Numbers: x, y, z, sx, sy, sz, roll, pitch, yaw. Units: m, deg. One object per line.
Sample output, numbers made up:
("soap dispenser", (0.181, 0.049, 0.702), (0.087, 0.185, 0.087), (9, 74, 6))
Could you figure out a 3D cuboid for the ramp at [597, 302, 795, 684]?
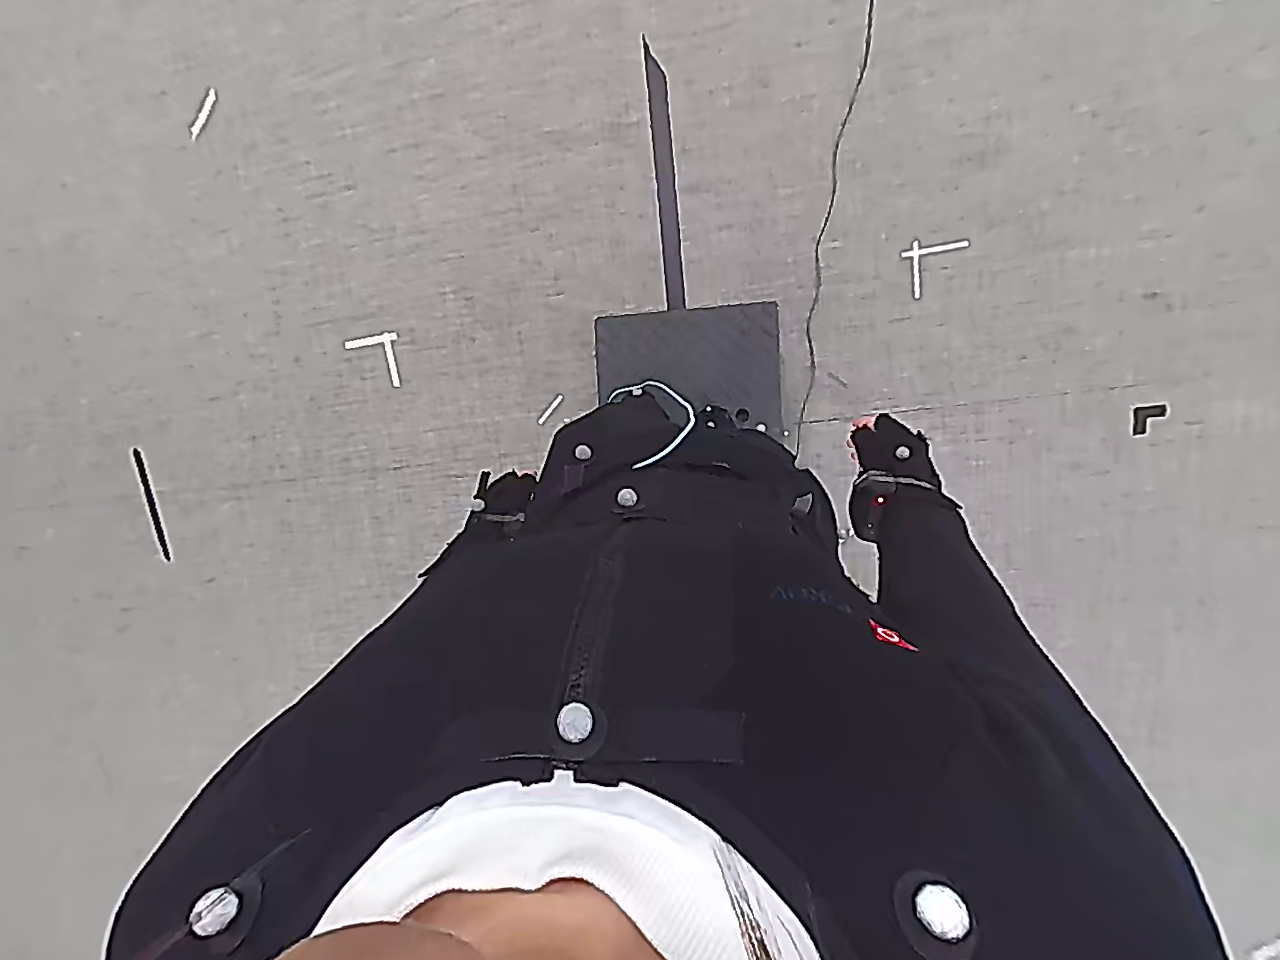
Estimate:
("ramp", (0.140, 0.043, 1.449), (0.509, 0.206, 0.991), (-4, 99, 11))
